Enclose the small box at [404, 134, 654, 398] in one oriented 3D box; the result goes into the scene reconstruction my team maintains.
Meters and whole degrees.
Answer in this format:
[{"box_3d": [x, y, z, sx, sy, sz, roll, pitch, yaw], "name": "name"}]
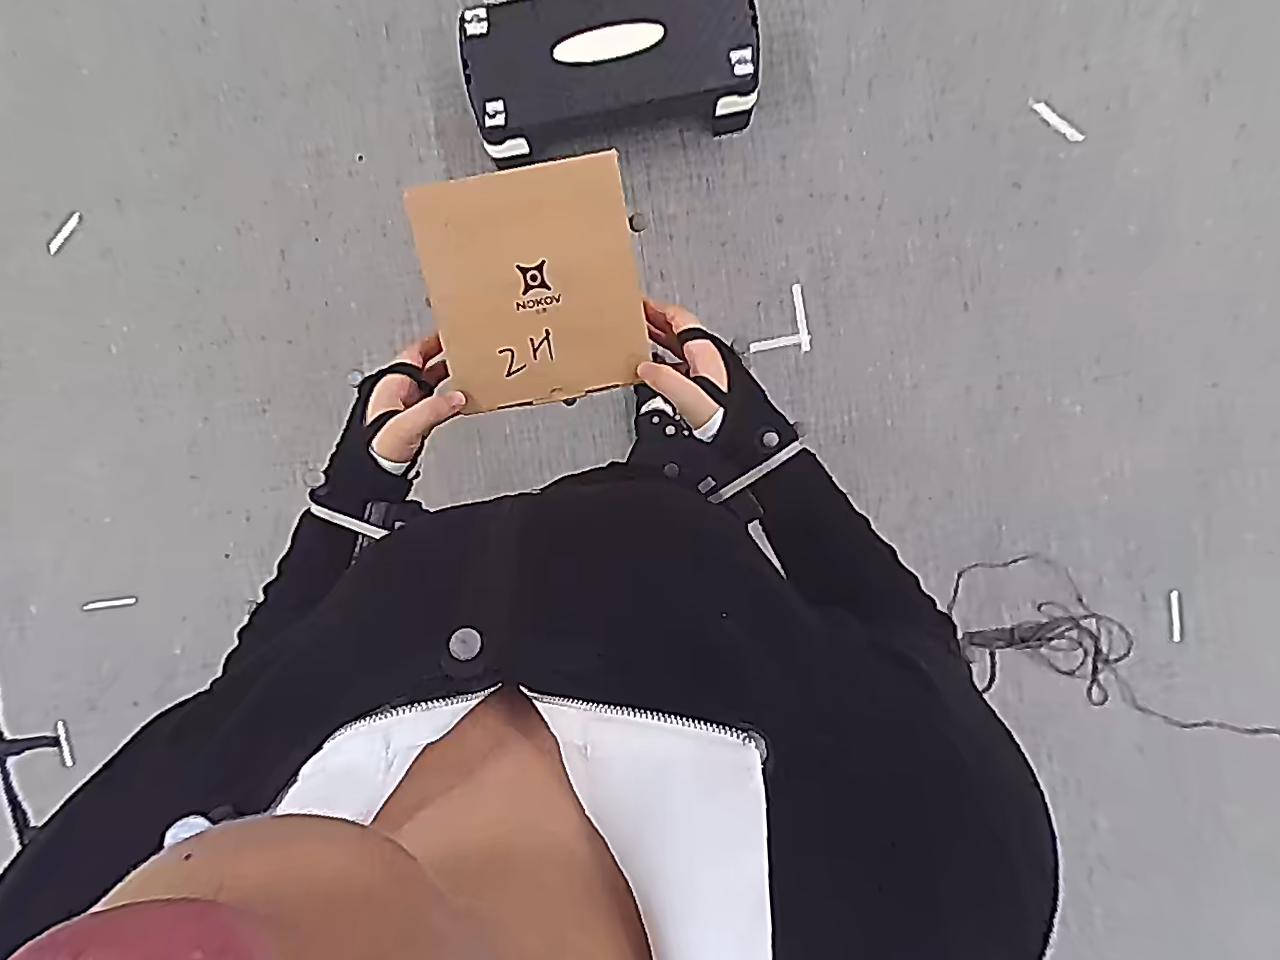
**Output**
[{"box_3d": [-0.087, -0.179, 0.497, 0.168, 0.176, 0.179, -11, 104, 0], "name": "small box"}]
